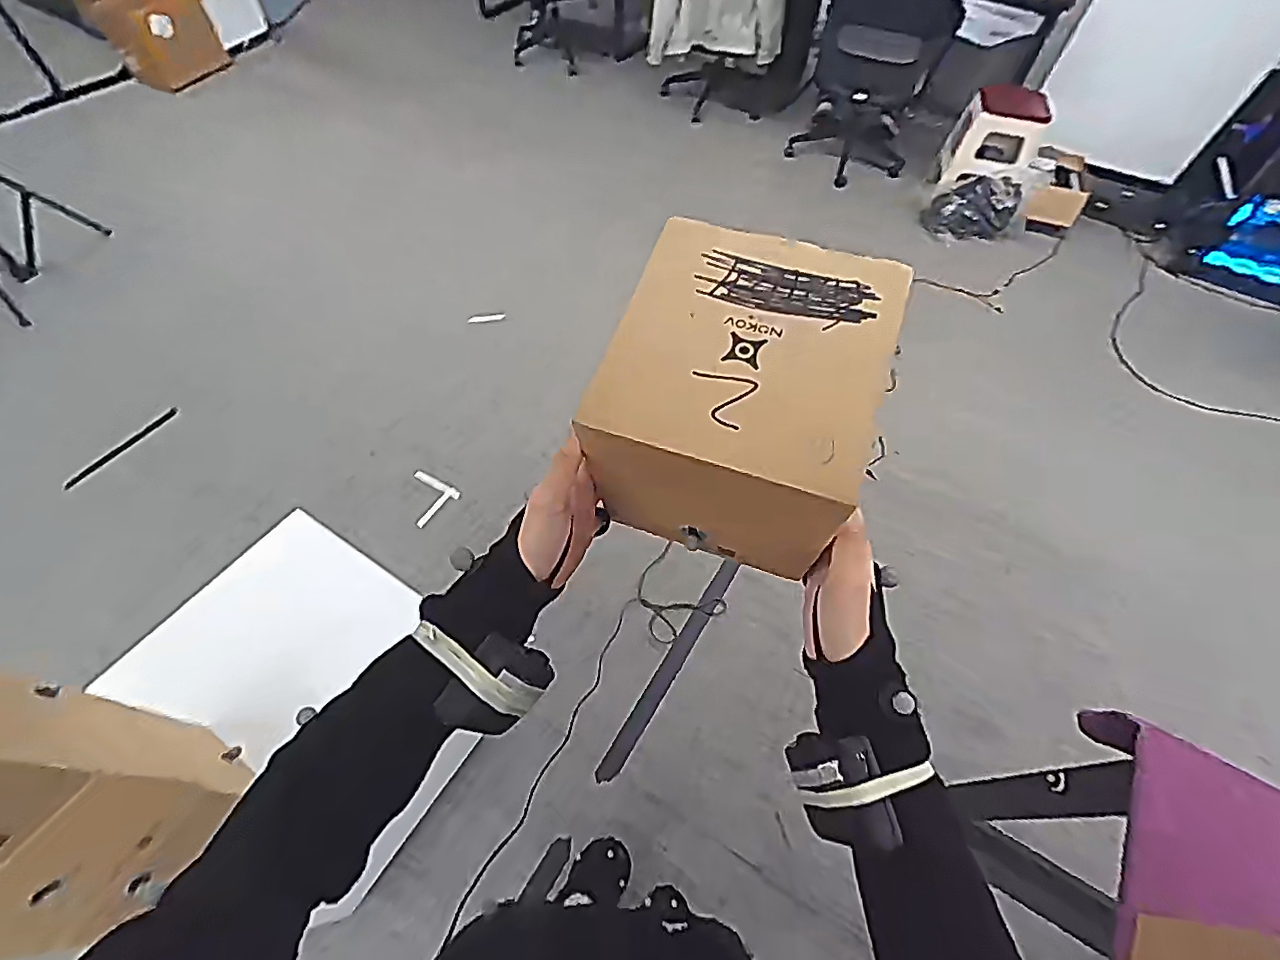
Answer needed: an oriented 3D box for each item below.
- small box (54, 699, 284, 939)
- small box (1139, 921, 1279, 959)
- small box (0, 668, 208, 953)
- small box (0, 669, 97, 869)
[{"bbox_3d":[-0.592,0.405,0.657,0.179,0.176,0.168,29,59,16],"label":"small box"},{"bbox_3d":[0.576,0.536,0.468,0.168,0.176,0.179,32,61,17],"label":"small box"},{"bbox_3d":[-0.583,0.315,0.521,0.179,0.176,0.168,28,59,15],"label":"small box"},{"bbox_3d":[-0.577,0.223,0.387,0.179,0.176,0.168,28,60,14],"label":"small box"}]
